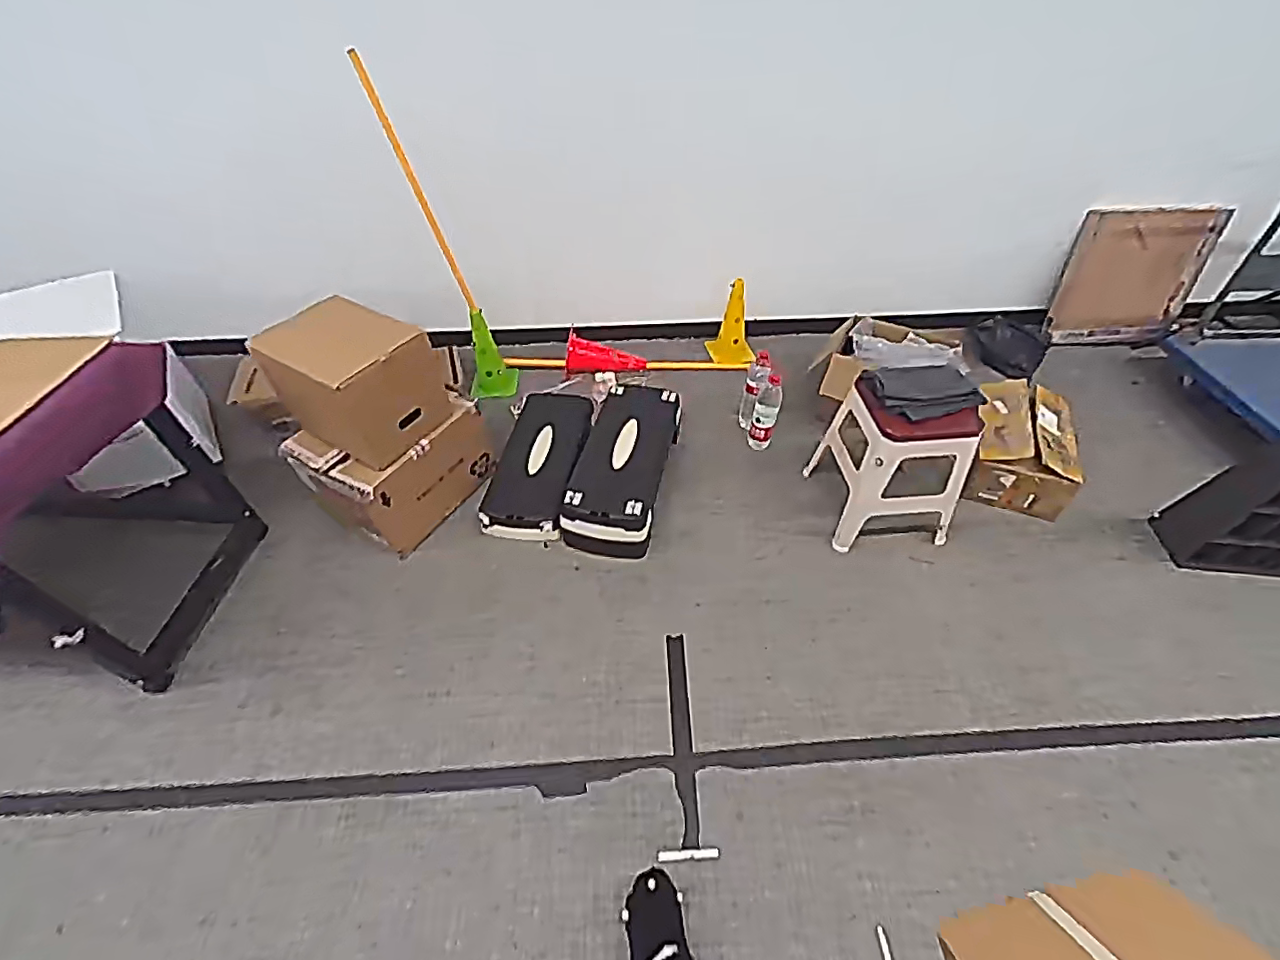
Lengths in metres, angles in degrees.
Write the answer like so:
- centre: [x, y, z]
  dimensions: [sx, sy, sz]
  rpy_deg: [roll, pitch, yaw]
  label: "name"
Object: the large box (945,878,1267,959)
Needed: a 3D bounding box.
- centre: [0.612, 0.729, 0.565]
  dimensions: [0.320, 0.408, 0.320]
  rpy_deg: [-15, 84, 0]
  label: "large box"
